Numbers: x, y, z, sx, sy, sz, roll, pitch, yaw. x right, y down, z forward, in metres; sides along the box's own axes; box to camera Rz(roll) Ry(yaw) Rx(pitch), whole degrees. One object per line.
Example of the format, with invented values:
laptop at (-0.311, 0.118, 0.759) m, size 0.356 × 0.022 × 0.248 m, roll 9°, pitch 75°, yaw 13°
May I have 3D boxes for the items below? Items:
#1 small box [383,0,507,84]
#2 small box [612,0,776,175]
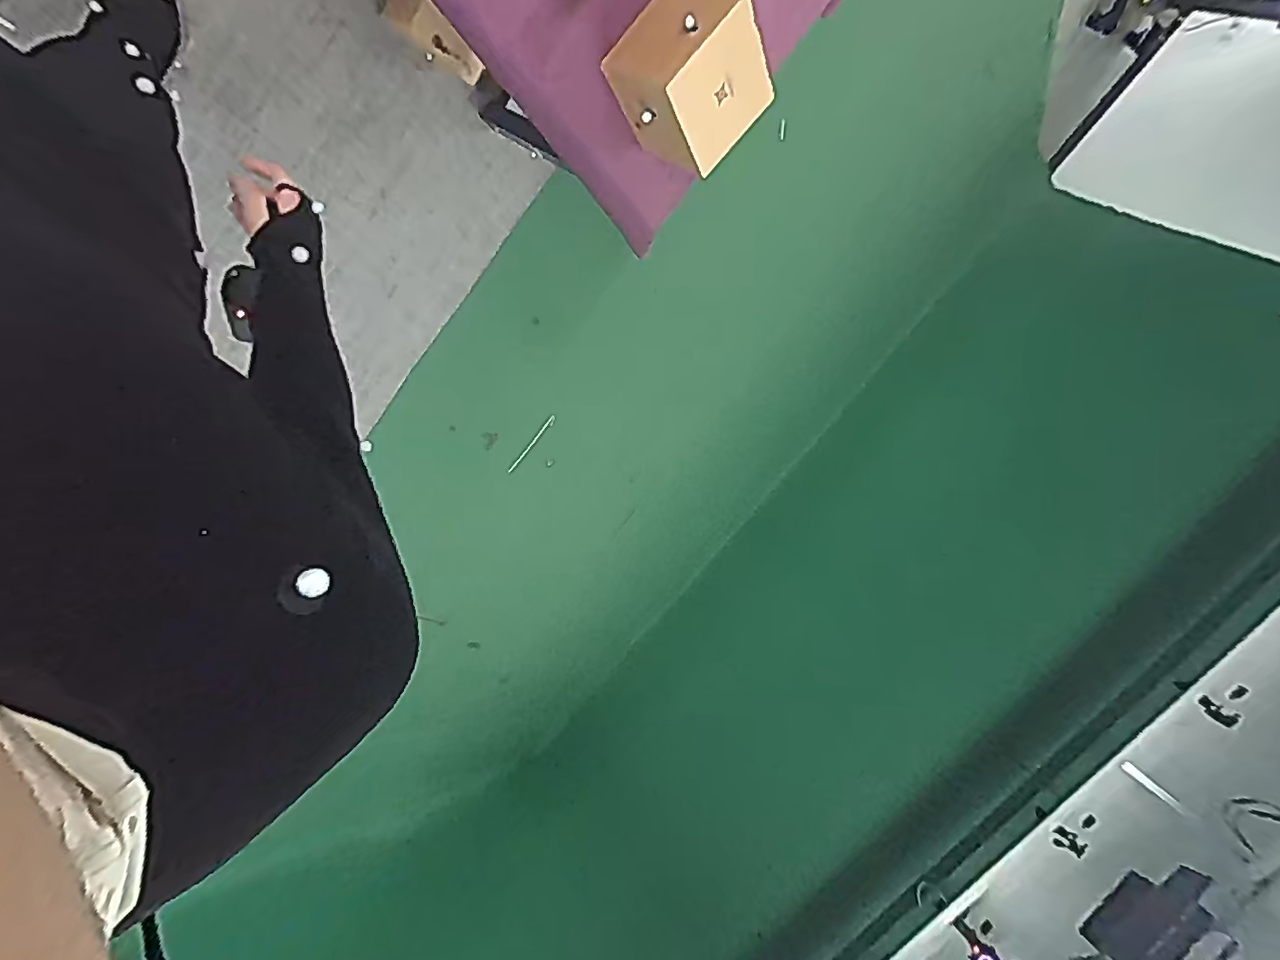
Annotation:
small box at (-0.433, -1.030, 1.187) m, size 0.179 × 0.176 × 0.168 m, roll -55°, pitch 148°, yaw 14°
small box at (0.079, -0.632, 0.852) m, size 0.179 × 0.176 × 0.168 m, roll -49°, pitch 148°, yaw 3°
